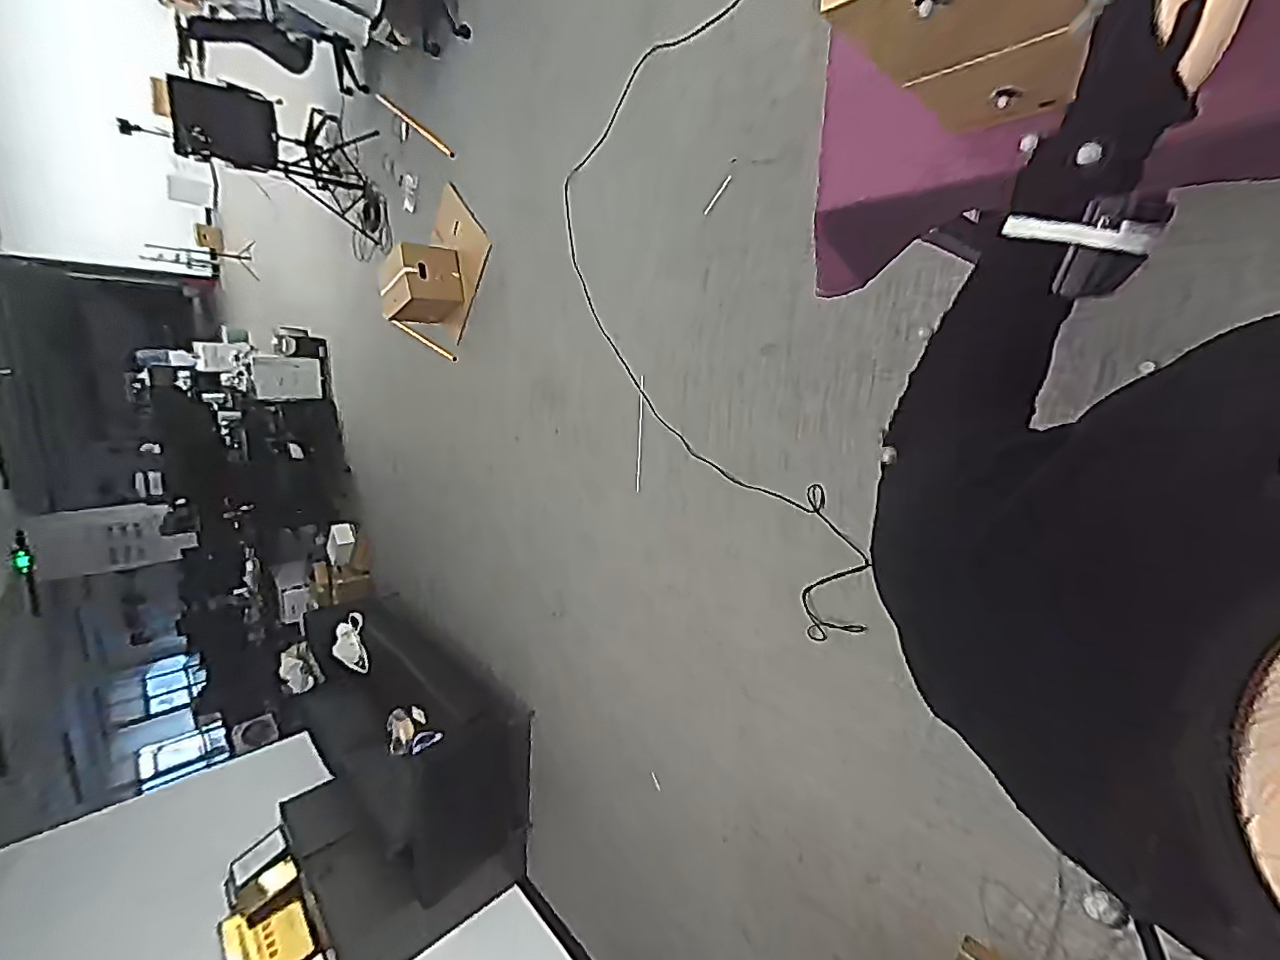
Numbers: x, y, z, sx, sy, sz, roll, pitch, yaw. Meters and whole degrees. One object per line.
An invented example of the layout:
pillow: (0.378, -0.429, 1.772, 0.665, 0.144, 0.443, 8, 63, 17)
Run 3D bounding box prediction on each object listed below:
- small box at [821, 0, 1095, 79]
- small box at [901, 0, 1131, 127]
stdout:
small box: (0.278, -0.480, 0.452, 0.179, 0.176, 0.168, 12, 106, 44)
small box: (0.398, -0.499, 0.563, 0.168, 0.176, 0.179, 13, 106, 44)
